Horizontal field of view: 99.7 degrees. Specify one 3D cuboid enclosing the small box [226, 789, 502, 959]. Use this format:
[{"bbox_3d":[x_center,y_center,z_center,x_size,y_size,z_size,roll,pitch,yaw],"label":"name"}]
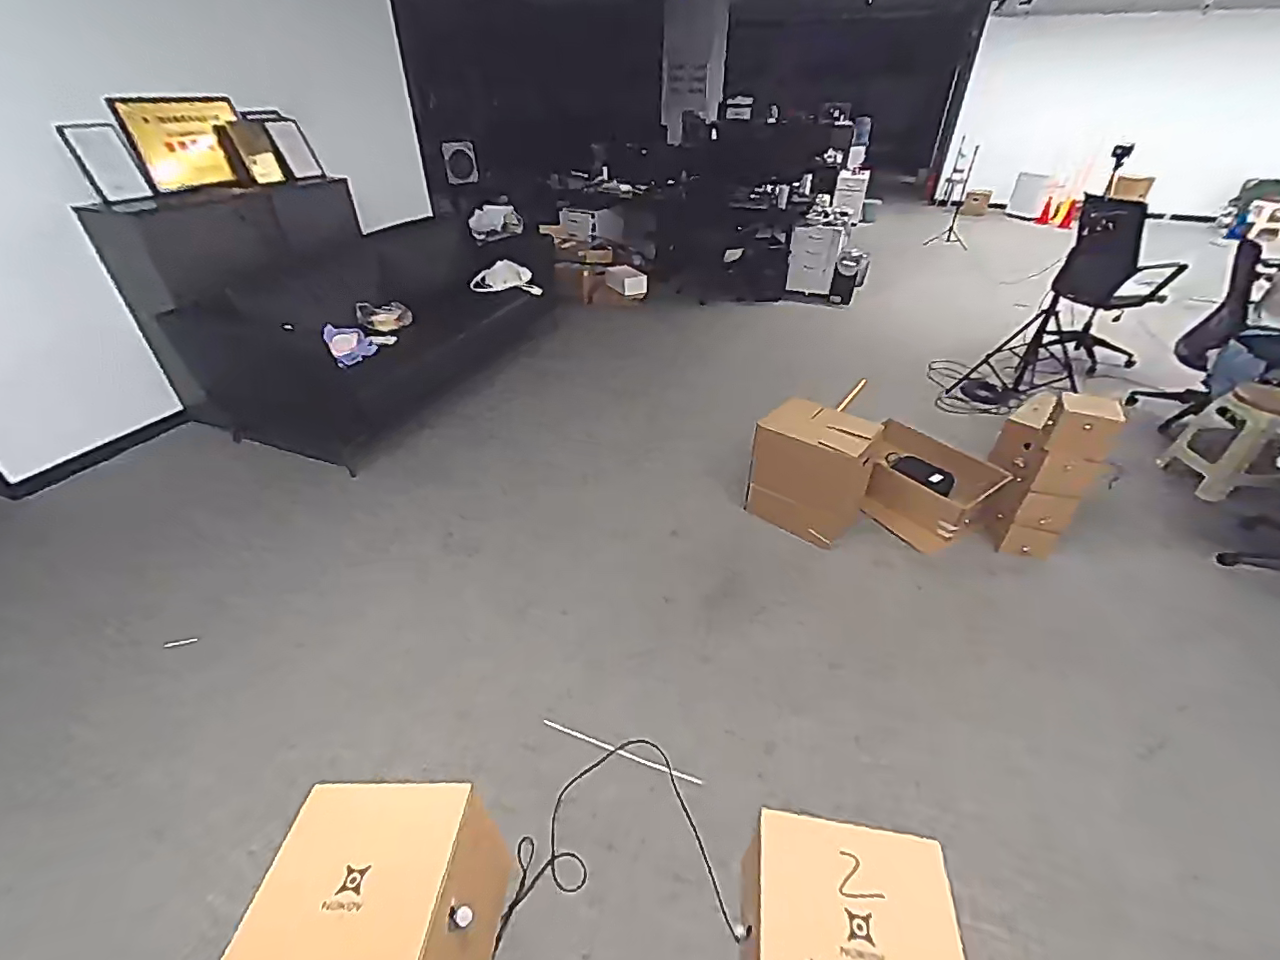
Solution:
[{"bbox_3d":[-0.241,0.424,0.511,0.168,0.176,0.179,-3,33,6],"label":"small box"}]
